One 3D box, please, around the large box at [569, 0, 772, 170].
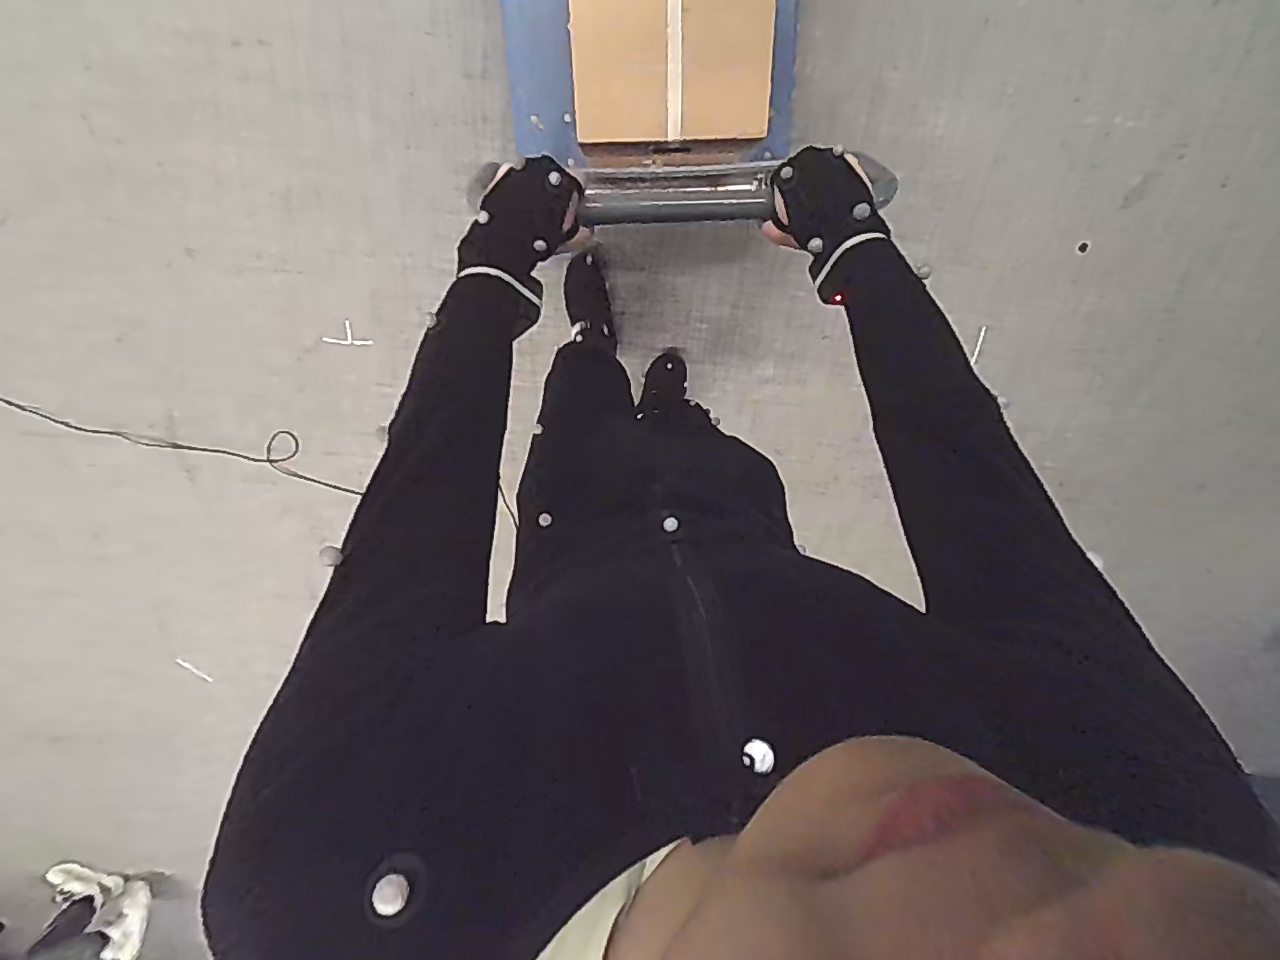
[{"bbox_3d":[0.044,-0.796,0.946,0.320,0.320,0.408,-2,113,-1],"label":"large box"}]
